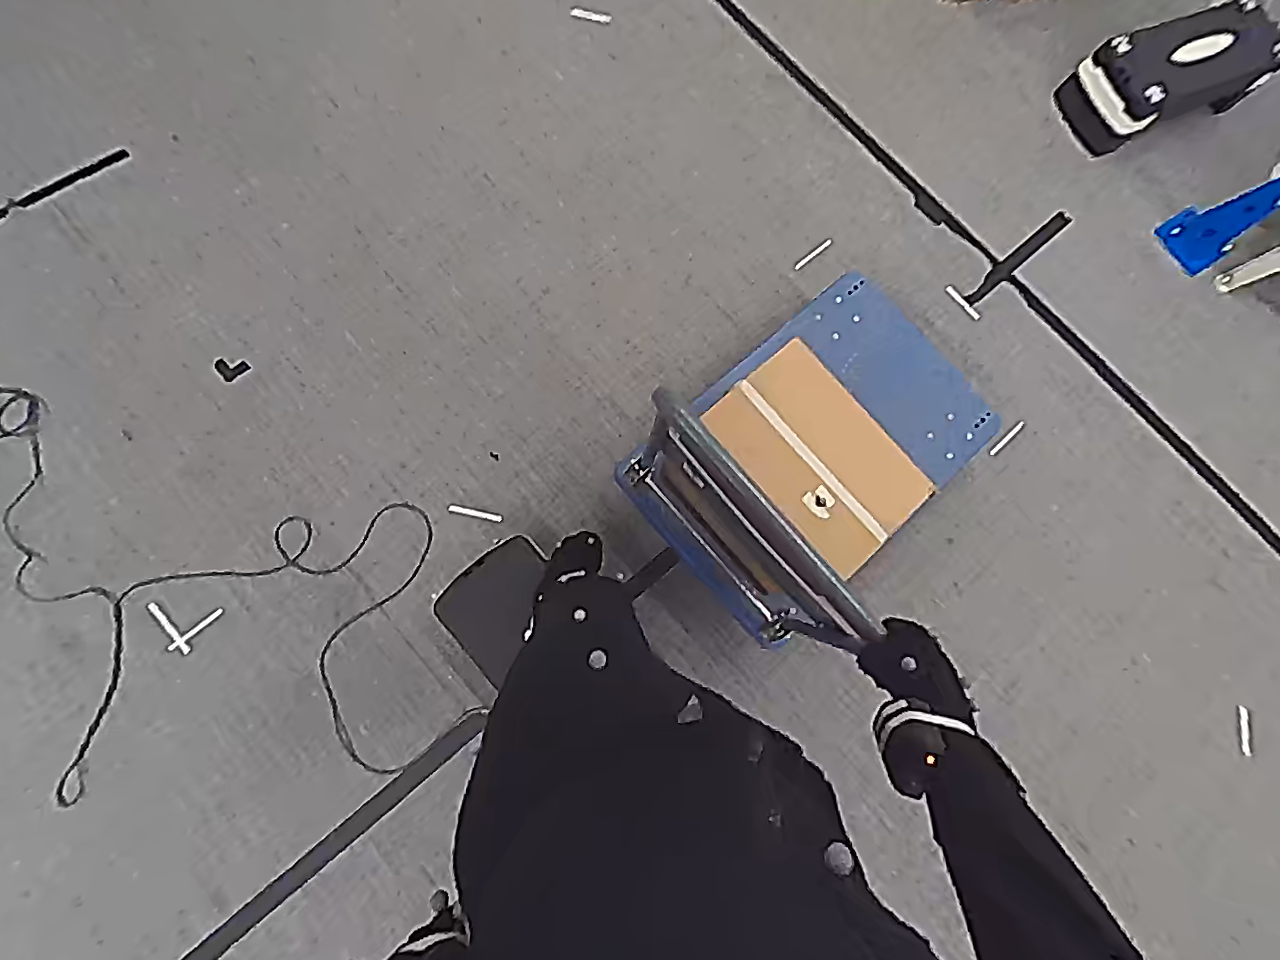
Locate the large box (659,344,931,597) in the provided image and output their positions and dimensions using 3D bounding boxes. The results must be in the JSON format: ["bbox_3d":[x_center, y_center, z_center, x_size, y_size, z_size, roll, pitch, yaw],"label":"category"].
[{"bbox_3d":[0.300,-0.003,1.163,0.320,0.320,0.408,-41,87,-11],"label":"large box"}]
